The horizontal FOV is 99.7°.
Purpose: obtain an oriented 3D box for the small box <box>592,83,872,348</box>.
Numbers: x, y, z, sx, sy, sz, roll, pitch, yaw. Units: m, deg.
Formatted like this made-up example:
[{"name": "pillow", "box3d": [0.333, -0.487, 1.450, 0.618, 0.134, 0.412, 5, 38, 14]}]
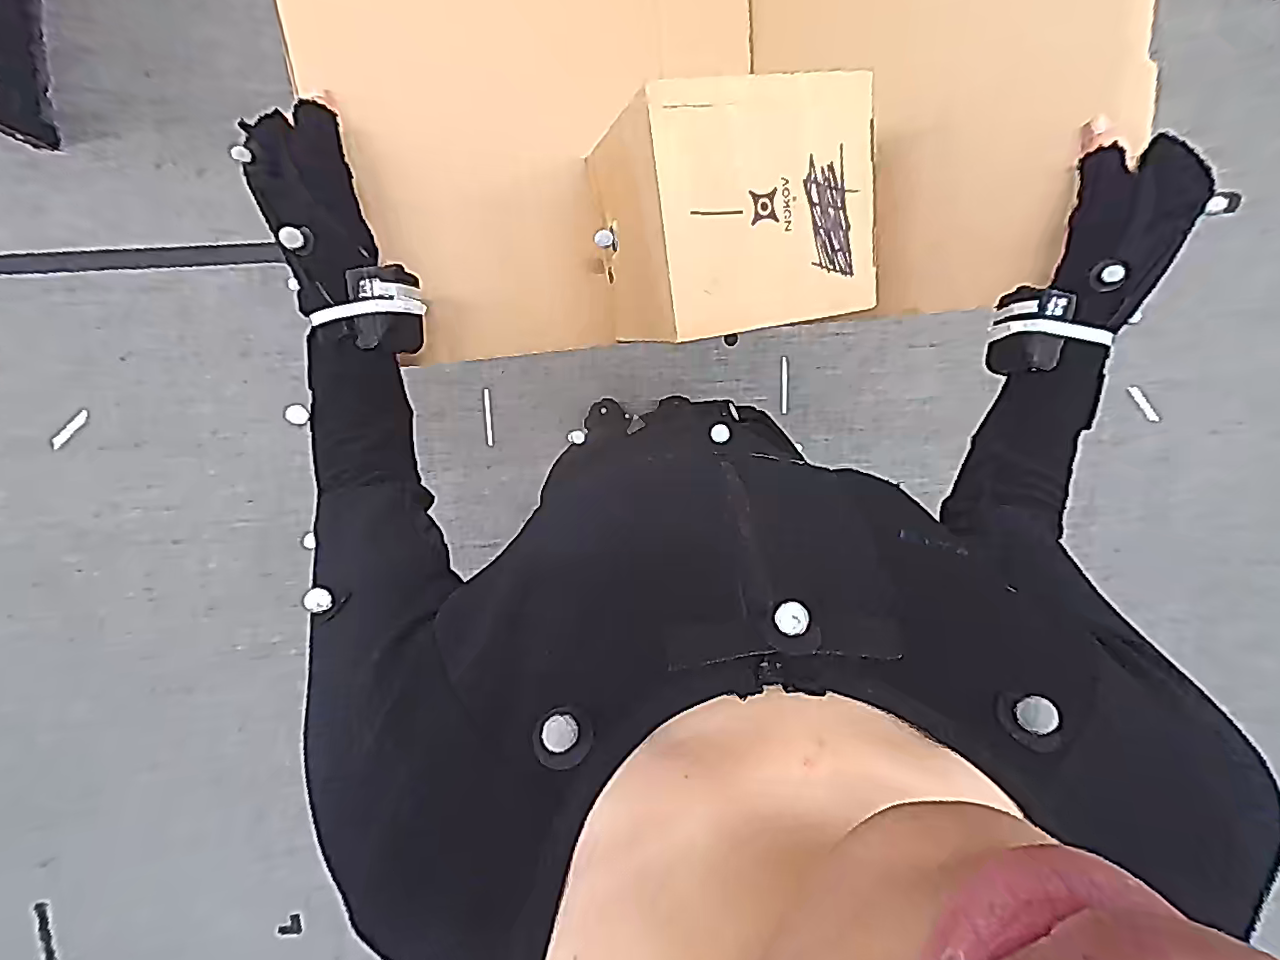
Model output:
[{"name": "small box", "box3d": [0.072, -0.212, 0.466, 0.179, 0.176, 0.168, -14, 108, -14]}]
